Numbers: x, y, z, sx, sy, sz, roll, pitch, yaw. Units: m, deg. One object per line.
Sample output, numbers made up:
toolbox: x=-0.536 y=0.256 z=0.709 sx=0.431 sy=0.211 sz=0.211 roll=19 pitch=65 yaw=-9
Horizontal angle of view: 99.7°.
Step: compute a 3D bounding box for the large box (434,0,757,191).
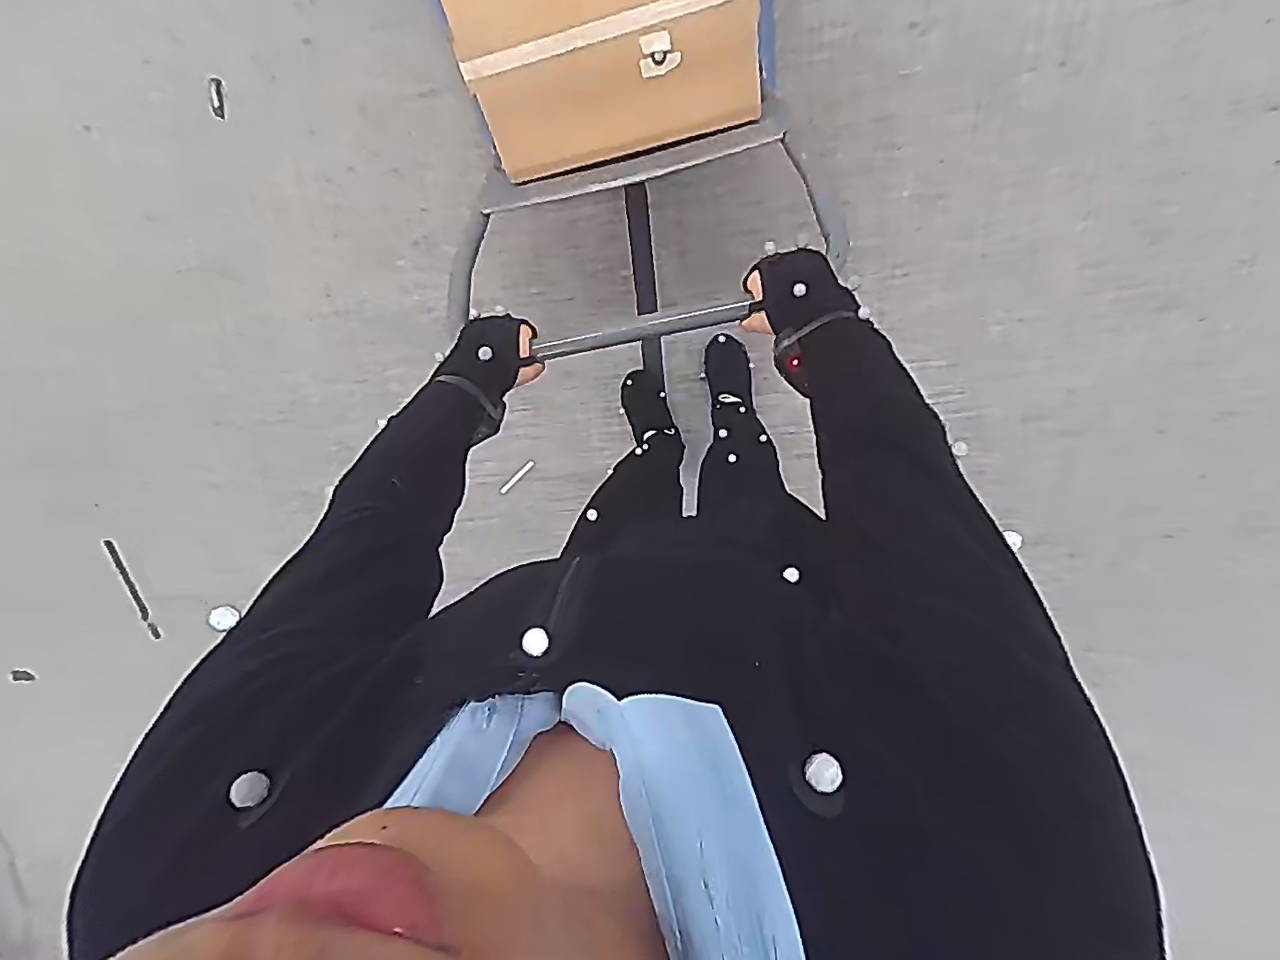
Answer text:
large box: x=-0.060 y=-0.708 z=0.834 sx=0.408 sy=0.320 sz=0.320 roll=-11 pitch=136 yaw=8
